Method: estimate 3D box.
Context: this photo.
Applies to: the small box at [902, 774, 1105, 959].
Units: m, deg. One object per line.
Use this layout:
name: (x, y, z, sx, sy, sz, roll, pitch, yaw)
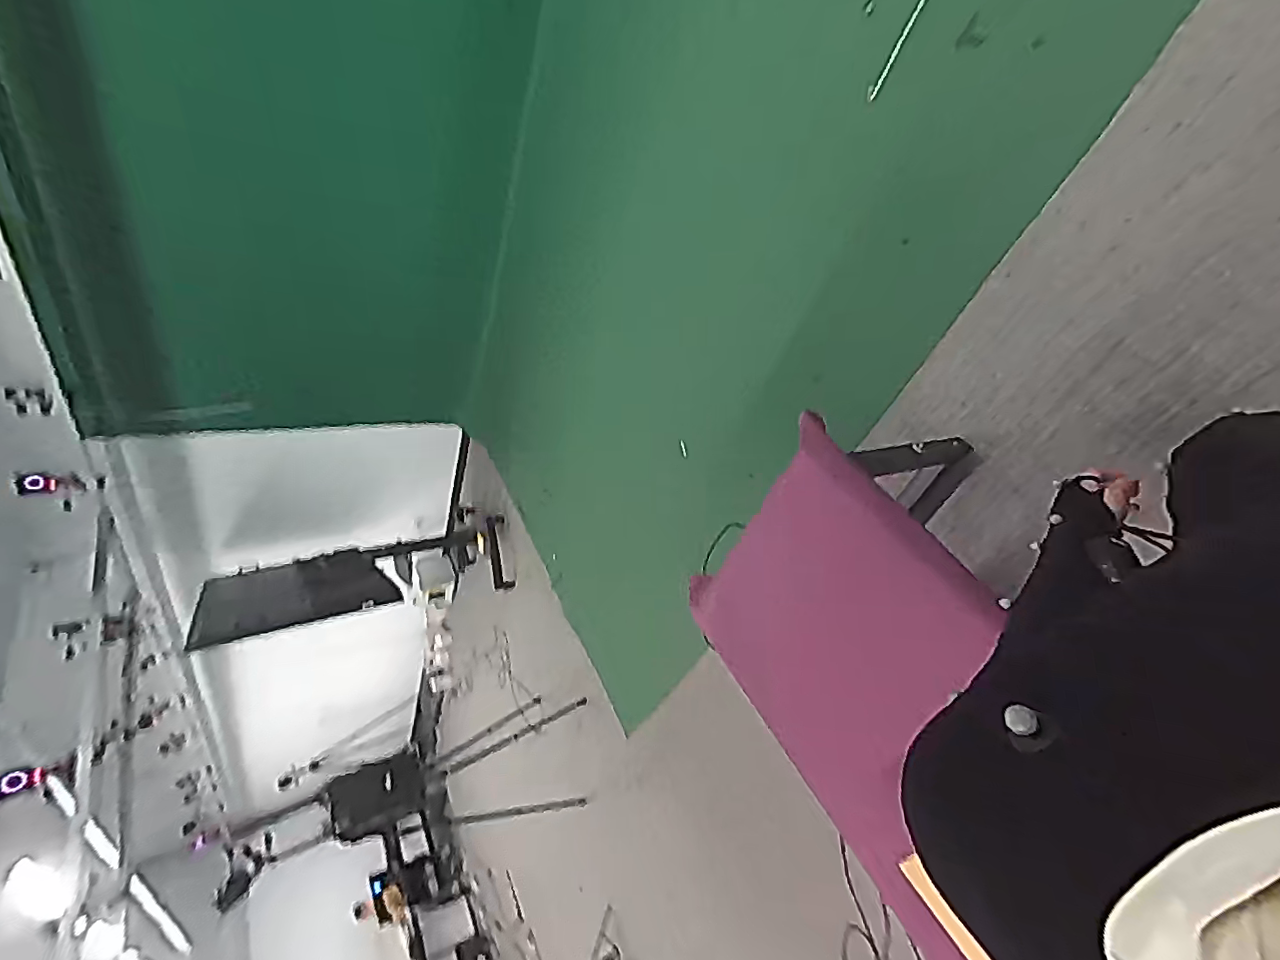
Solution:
small box: (0.558, 0.597, 0.834, 0.168, 0.176, 0.179, 51, 133, 35)
